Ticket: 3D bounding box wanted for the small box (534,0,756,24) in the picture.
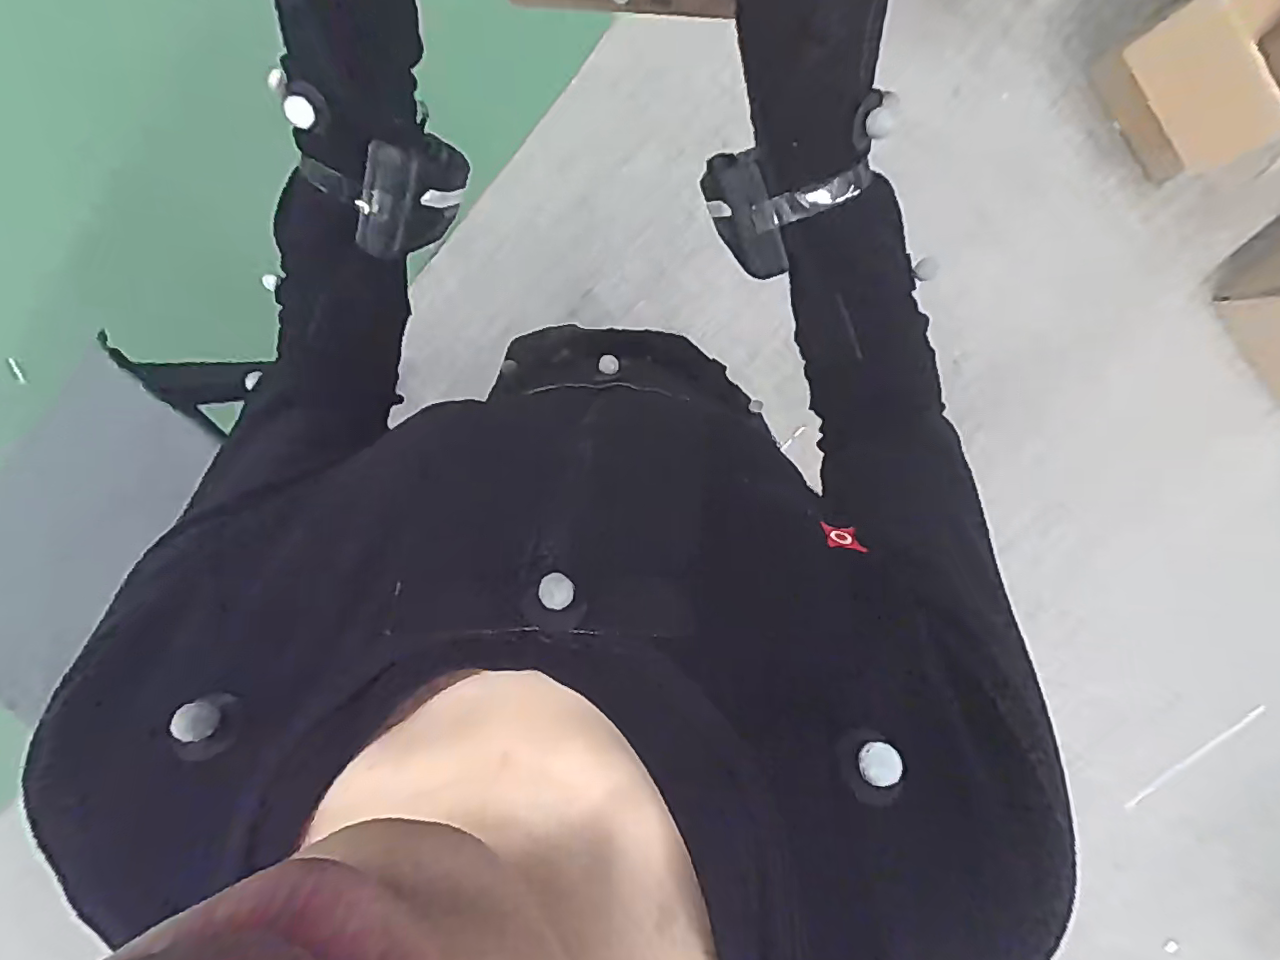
[{"bbox_3d":[-0.002,-0.370,0.259,0.168,0.176,0.179,7,109,3],"label":"small box"}]
